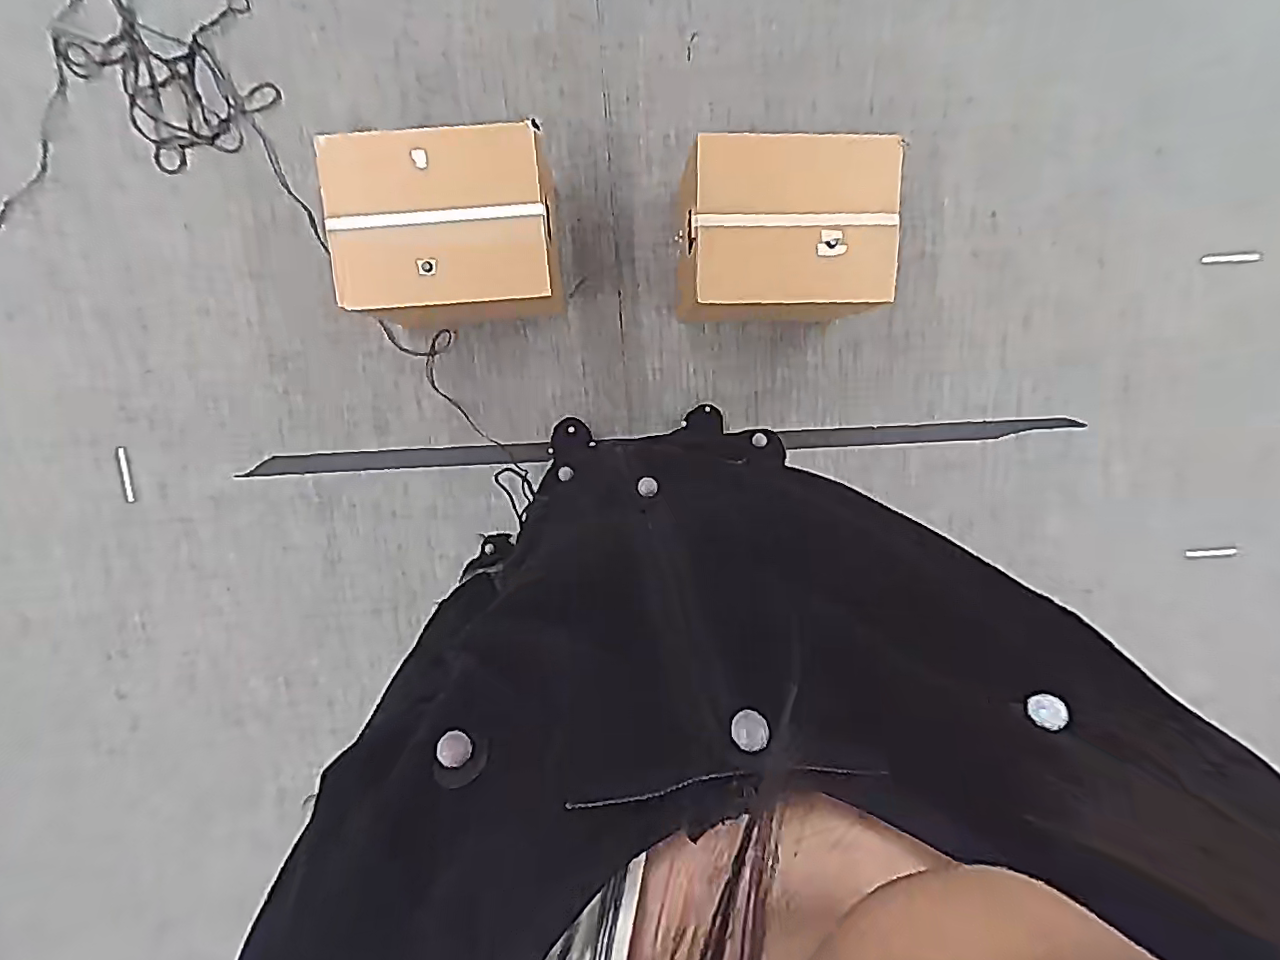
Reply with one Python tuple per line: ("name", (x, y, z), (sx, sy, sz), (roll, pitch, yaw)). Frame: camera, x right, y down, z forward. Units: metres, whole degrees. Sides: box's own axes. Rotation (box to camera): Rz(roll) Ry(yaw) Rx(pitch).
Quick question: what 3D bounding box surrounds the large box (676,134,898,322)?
("large box", (0.299, -0.537, 1.213), (0.408, 0.320, 0.320), (-1, 100, -4))
